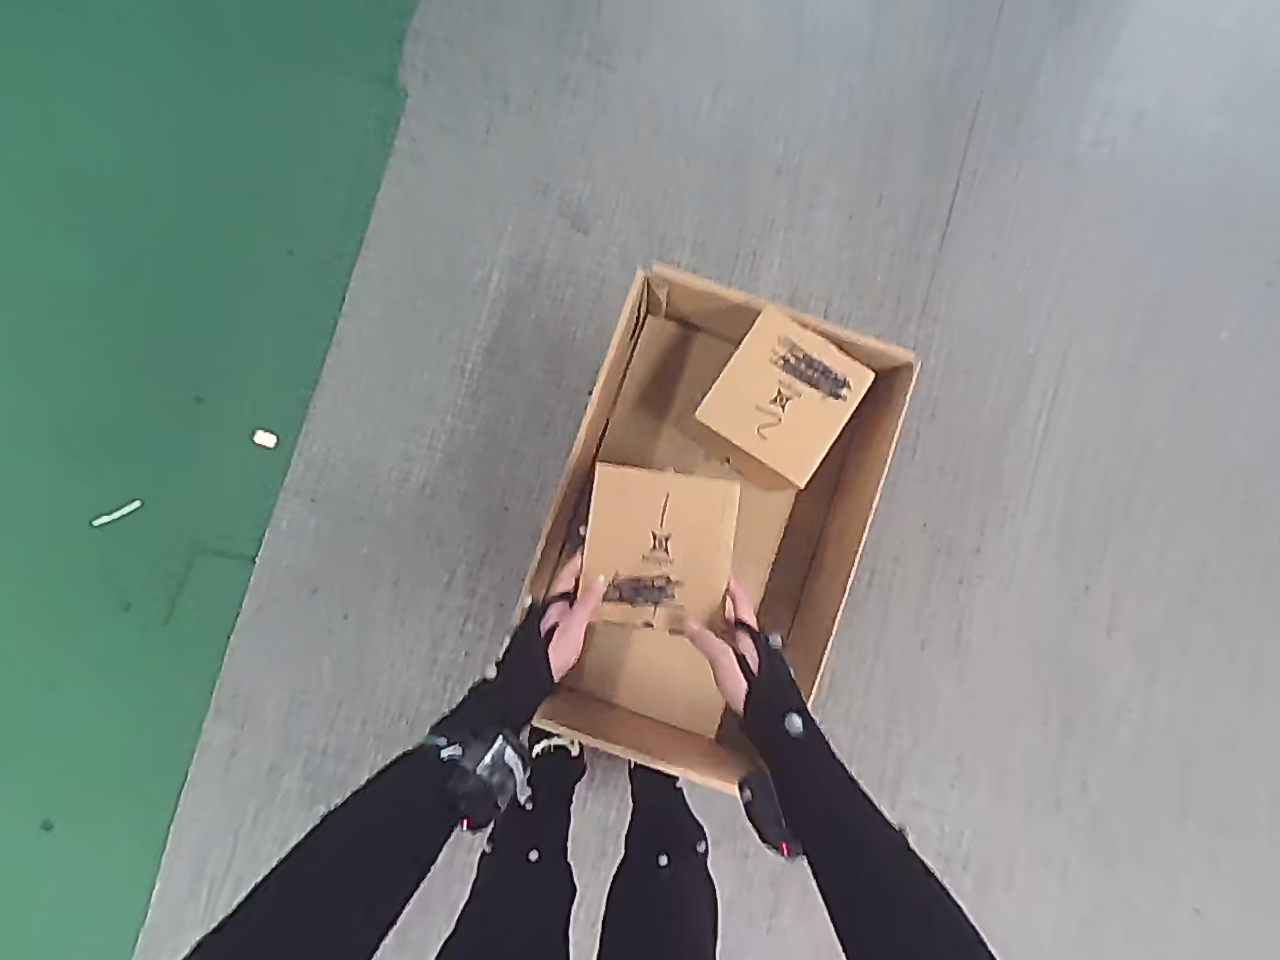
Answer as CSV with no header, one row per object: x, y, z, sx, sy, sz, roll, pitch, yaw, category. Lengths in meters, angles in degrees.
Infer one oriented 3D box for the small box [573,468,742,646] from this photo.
0.020,0.087,0.665,0.168,0.176,0.179,8,87,0,small box
